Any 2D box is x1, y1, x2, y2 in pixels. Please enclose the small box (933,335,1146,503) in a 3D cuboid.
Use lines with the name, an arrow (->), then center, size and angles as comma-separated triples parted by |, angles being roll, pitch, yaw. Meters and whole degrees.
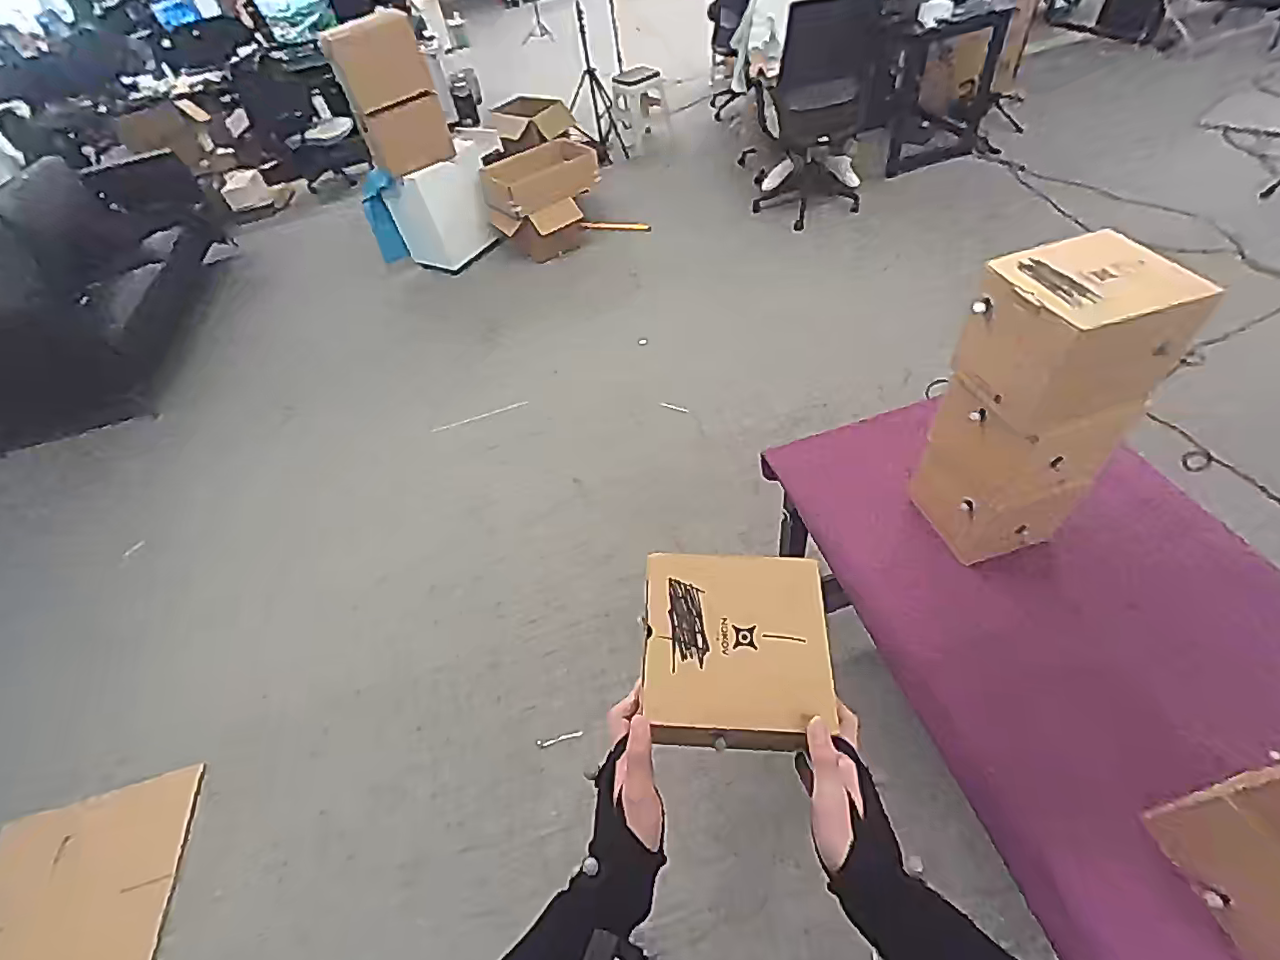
small box -> 0.588, -0.085, 0.826 | 0.168, 0.176, 0.179 | -17, 49, -2

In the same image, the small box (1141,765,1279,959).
small box -> 0.729, 0.423, 0.589 | 0.168, 0.176, 0.179 | -18, 50, -4

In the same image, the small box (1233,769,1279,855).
small box -> 0.705, 0.319, 0.465 | 0.168, 0.176, 0.179 | -17, 49, -2

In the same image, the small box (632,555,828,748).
small box -> 0.087, 0.192, 0.587 | 0.179, 0.176, 0.168 | 2, 59, 3

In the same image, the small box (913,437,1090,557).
small box -> 0.615, 0.016, 0.950 | 0.168, 0.176, 0.179 | -16, 50, -3
